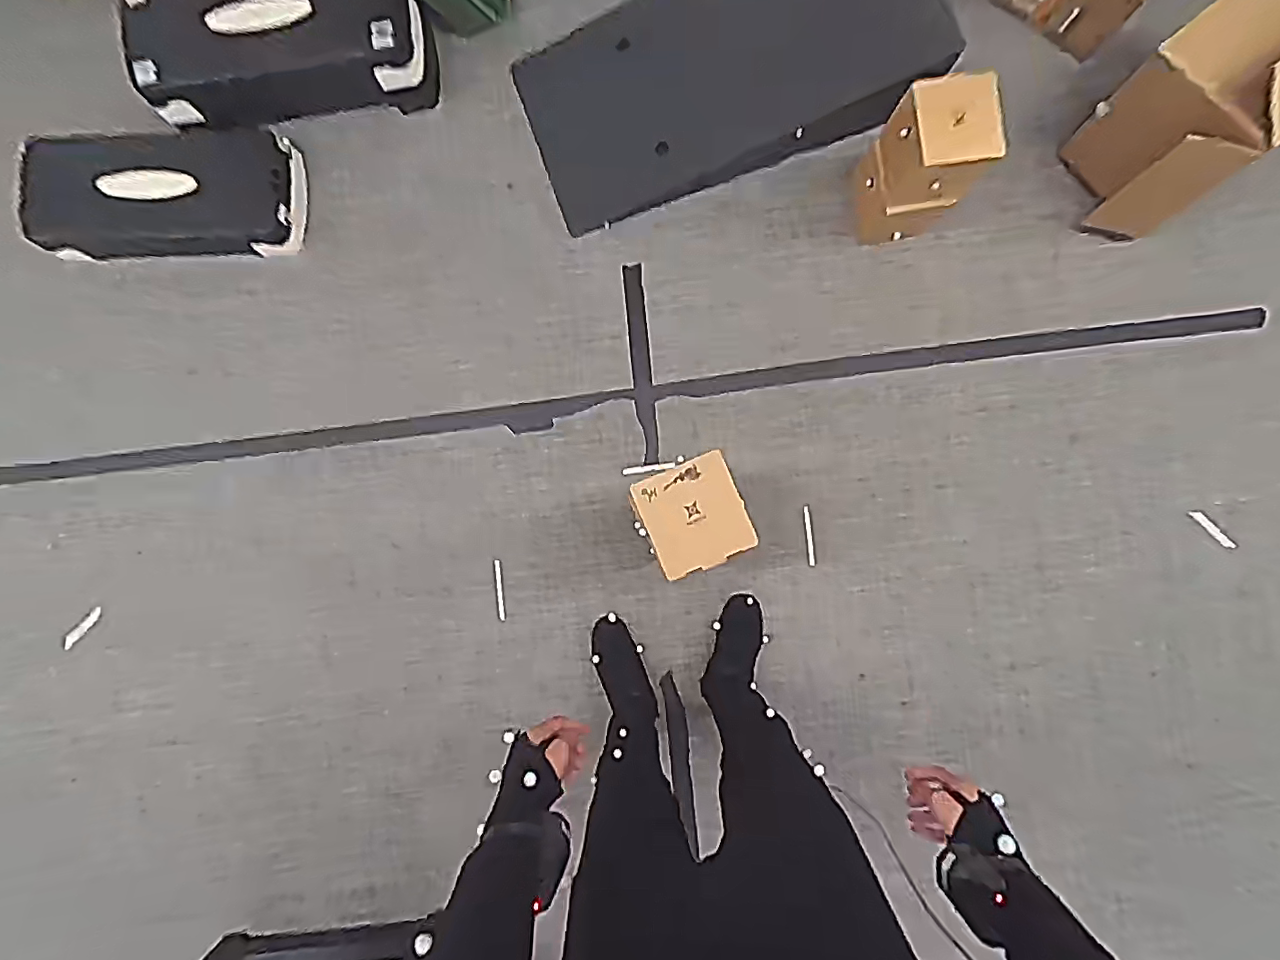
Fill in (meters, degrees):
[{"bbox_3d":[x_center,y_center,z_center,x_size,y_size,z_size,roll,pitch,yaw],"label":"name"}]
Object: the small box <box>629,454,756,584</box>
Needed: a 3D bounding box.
[{"bbox_3d":[0.089,0.066,0.977,0.168,0.176,0.179,-23,88,0],"label":"small box"}]
